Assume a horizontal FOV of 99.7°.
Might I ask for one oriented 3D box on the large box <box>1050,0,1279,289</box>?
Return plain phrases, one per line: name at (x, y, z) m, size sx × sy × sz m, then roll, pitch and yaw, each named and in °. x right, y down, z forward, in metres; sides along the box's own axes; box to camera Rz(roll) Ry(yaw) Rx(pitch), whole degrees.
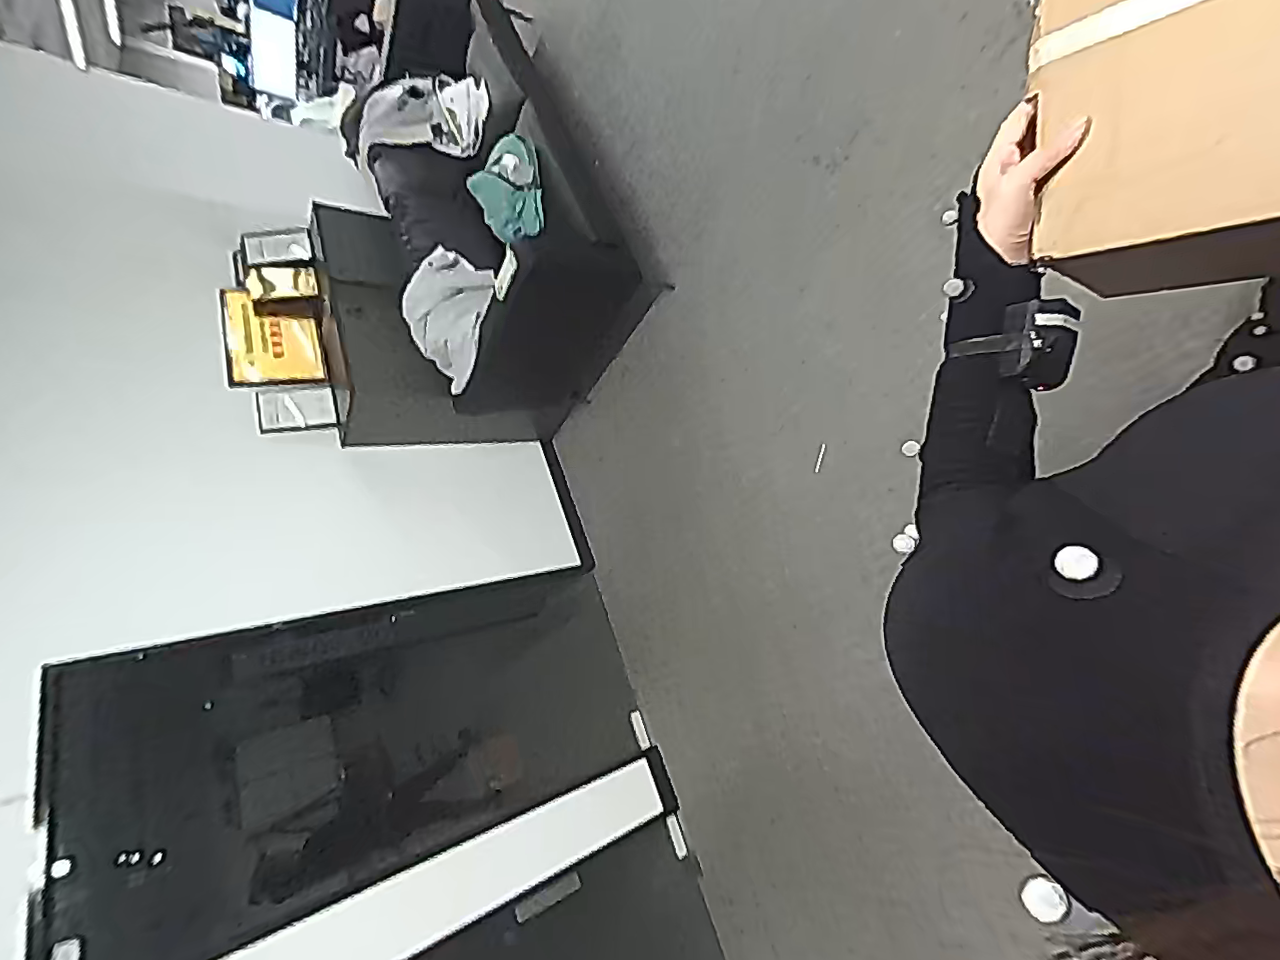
large box at (0.564, -0.346, 0.376) m, size 0.408 × 0.320 × 0.320 m, roll 5°, pitch 101°, yaw 47°
